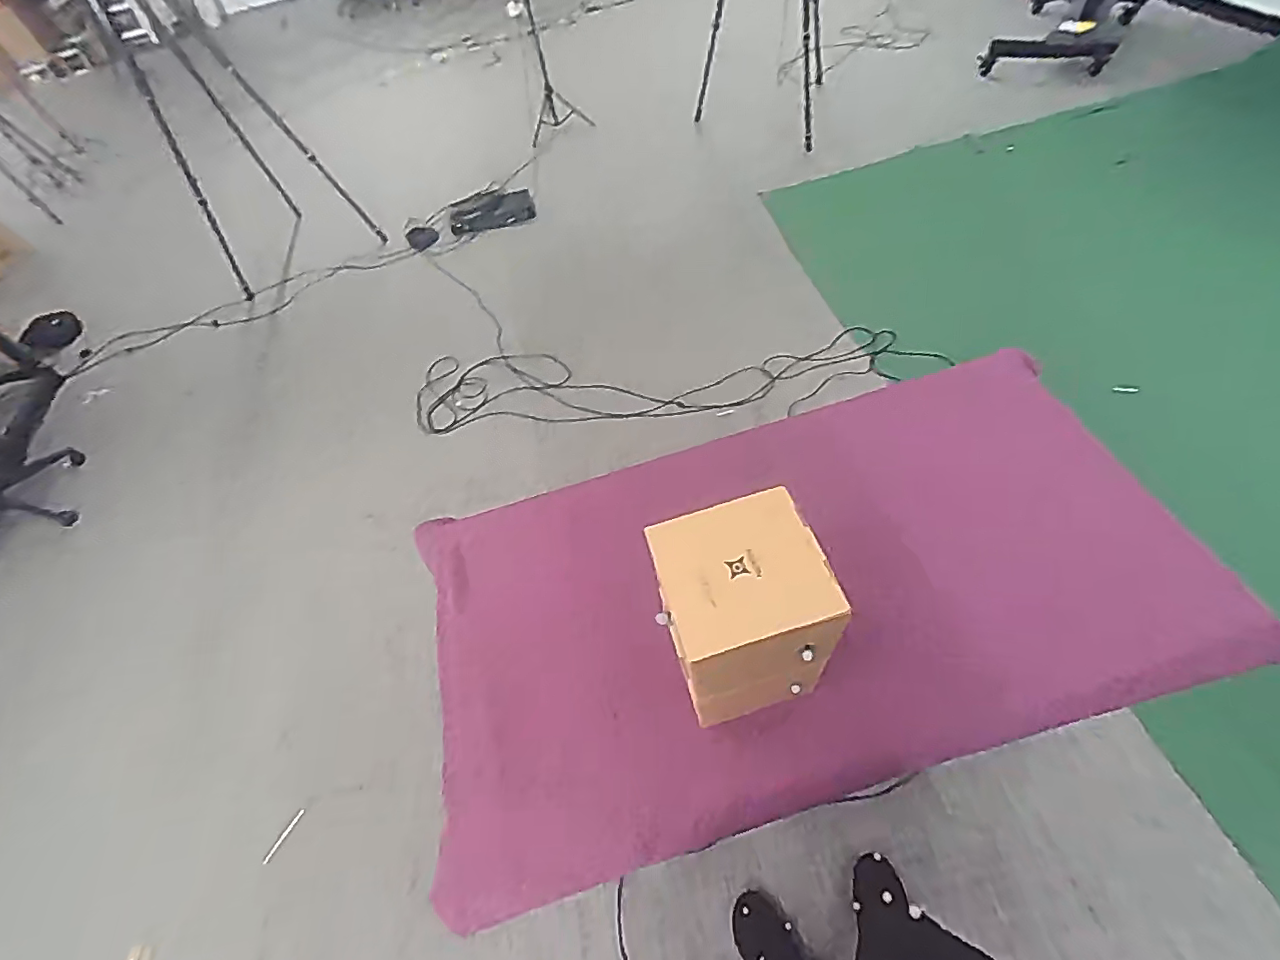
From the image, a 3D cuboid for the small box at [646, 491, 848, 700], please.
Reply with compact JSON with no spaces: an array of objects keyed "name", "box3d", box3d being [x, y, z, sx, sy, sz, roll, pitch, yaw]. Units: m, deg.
[{"name":"small box","box3d":[0.118,0.143,0.649,0.179,0.176,0.168,-17,54,-2]}]
